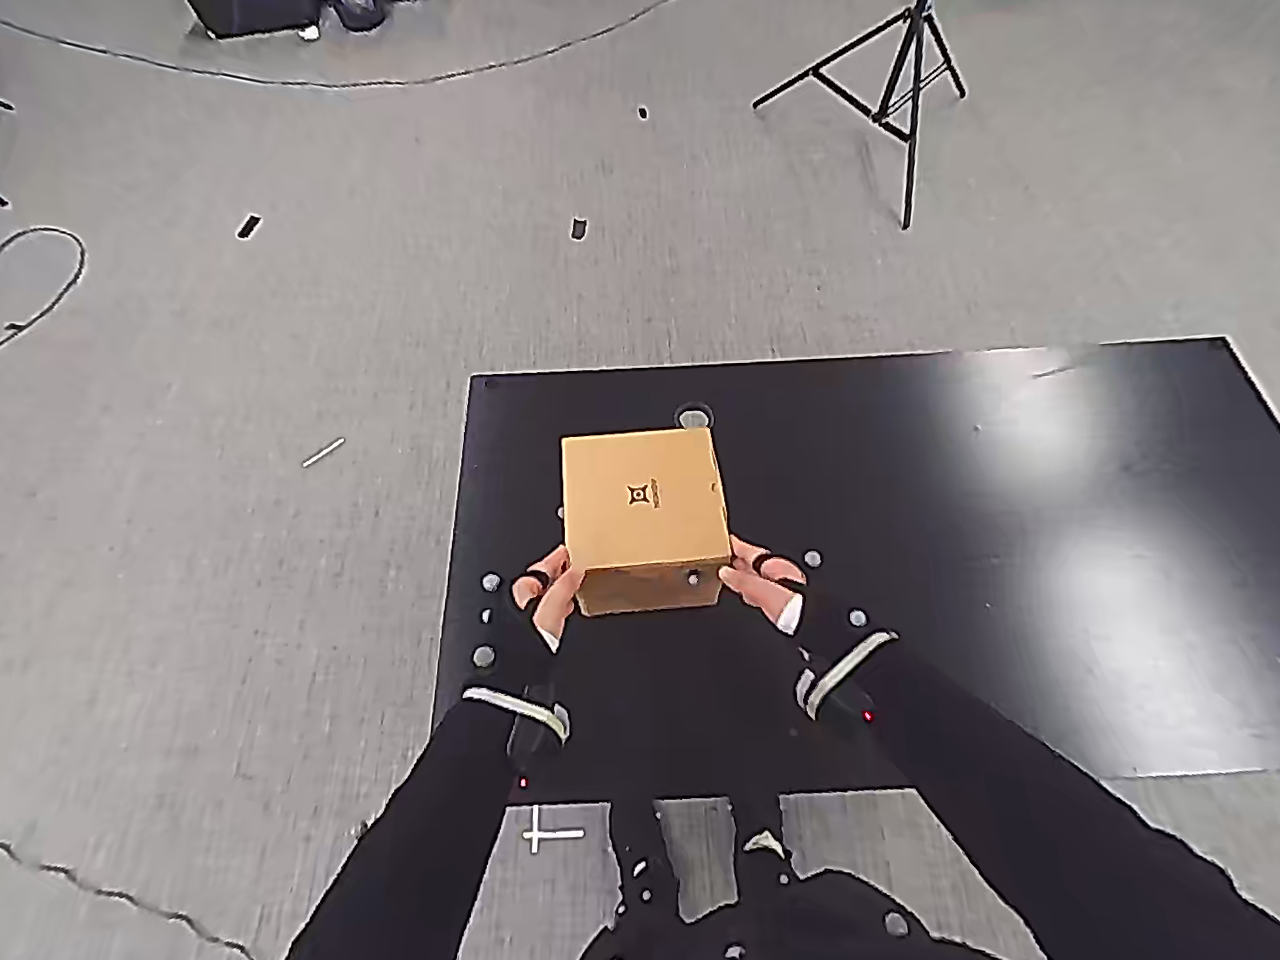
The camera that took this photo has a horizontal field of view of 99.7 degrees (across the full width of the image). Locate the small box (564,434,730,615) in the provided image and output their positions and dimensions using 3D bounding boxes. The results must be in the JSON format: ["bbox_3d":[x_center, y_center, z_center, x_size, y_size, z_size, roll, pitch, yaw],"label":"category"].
[{"bbox_3d":[0.004,0.062,0.670,0.179,0.176,0.168,-4,61,-3],"label":"small box"}]
